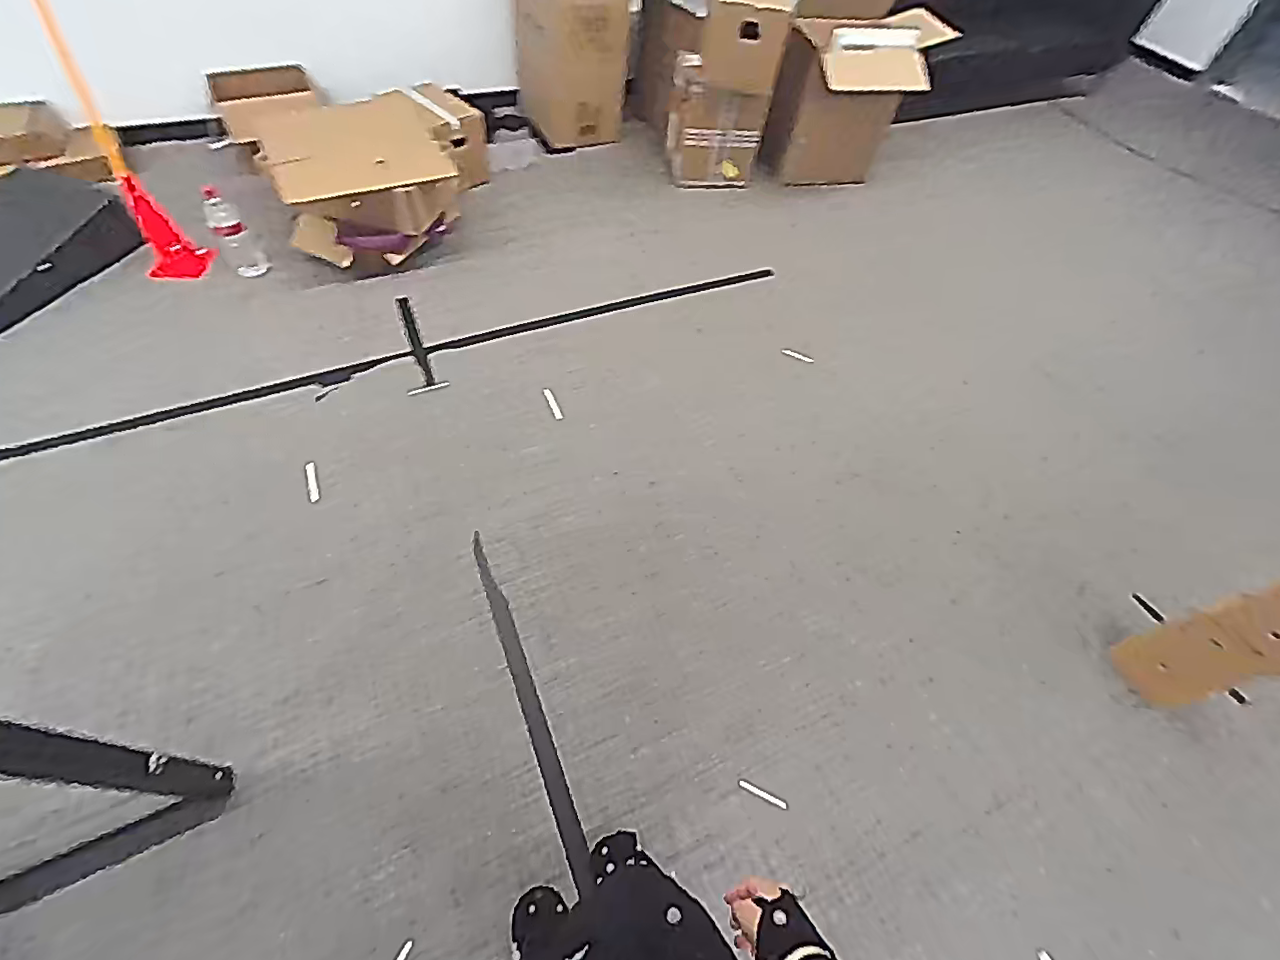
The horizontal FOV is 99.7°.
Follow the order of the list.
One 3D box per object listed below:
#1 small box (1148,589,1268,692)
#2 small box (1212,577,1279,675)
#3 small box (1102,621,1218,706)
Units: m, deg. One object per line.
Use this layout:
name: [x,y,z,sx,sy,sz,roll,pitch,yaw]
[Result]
small box: [1.470,0.410,1.371,0.168,0.176,0.179,-17,58,-16]
small box: [1.490,0.322,1.235,0.179,0.176,0.168,-18,59,-16]
small box: [1.462,0.509,1.502,0.168,0.176,0.179,-19,59,-18]
